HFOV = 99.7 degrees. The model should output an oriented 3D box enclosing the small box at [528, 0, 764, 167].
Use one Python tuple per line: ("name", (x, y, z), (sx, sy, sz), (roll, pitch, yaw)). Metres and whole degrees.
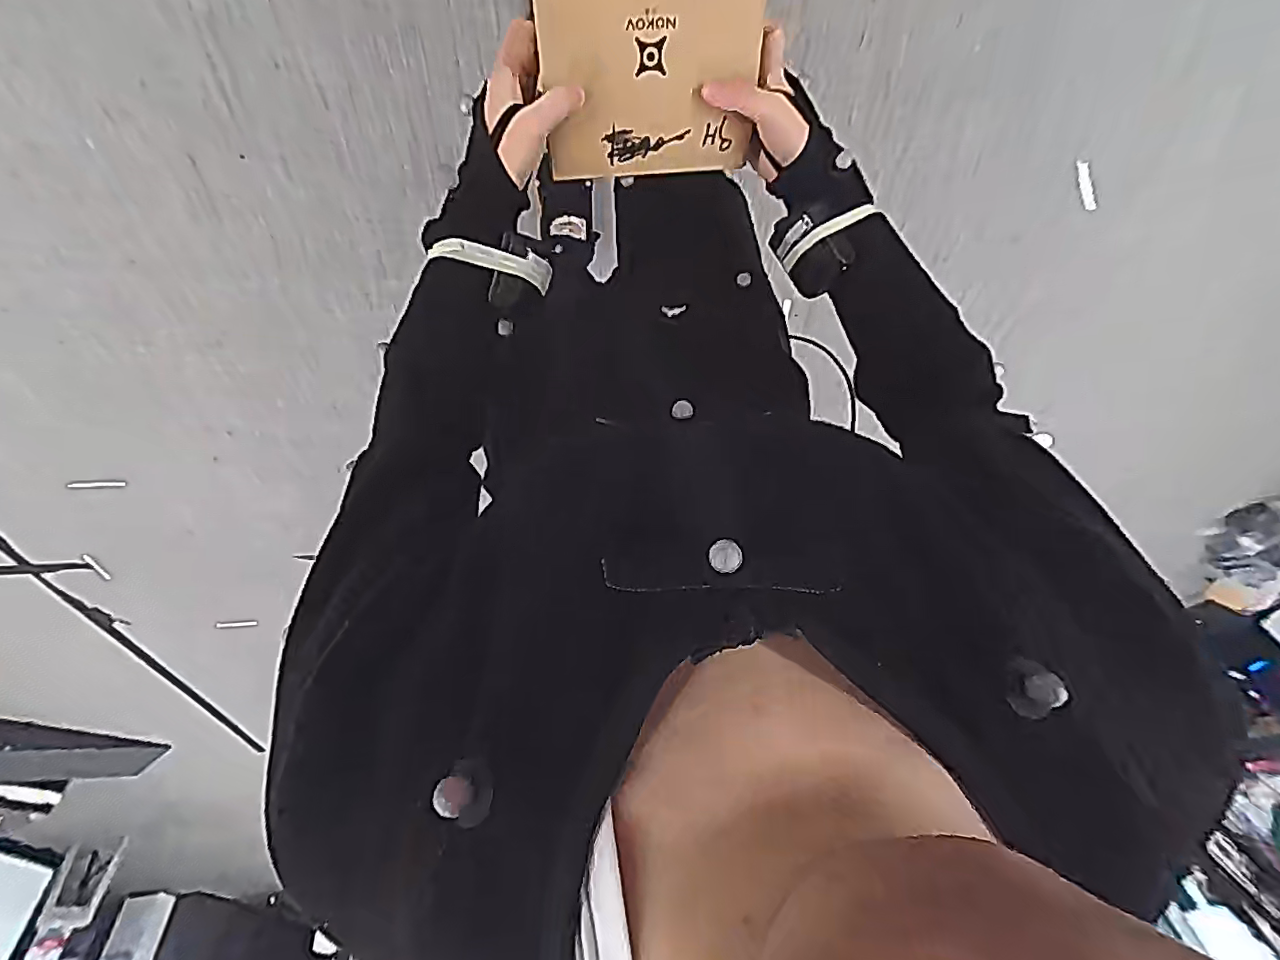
("small box", (-0.005, -0.381, 0.440), (0.168, 0.176, 0.179), (-7, 137, -6))
